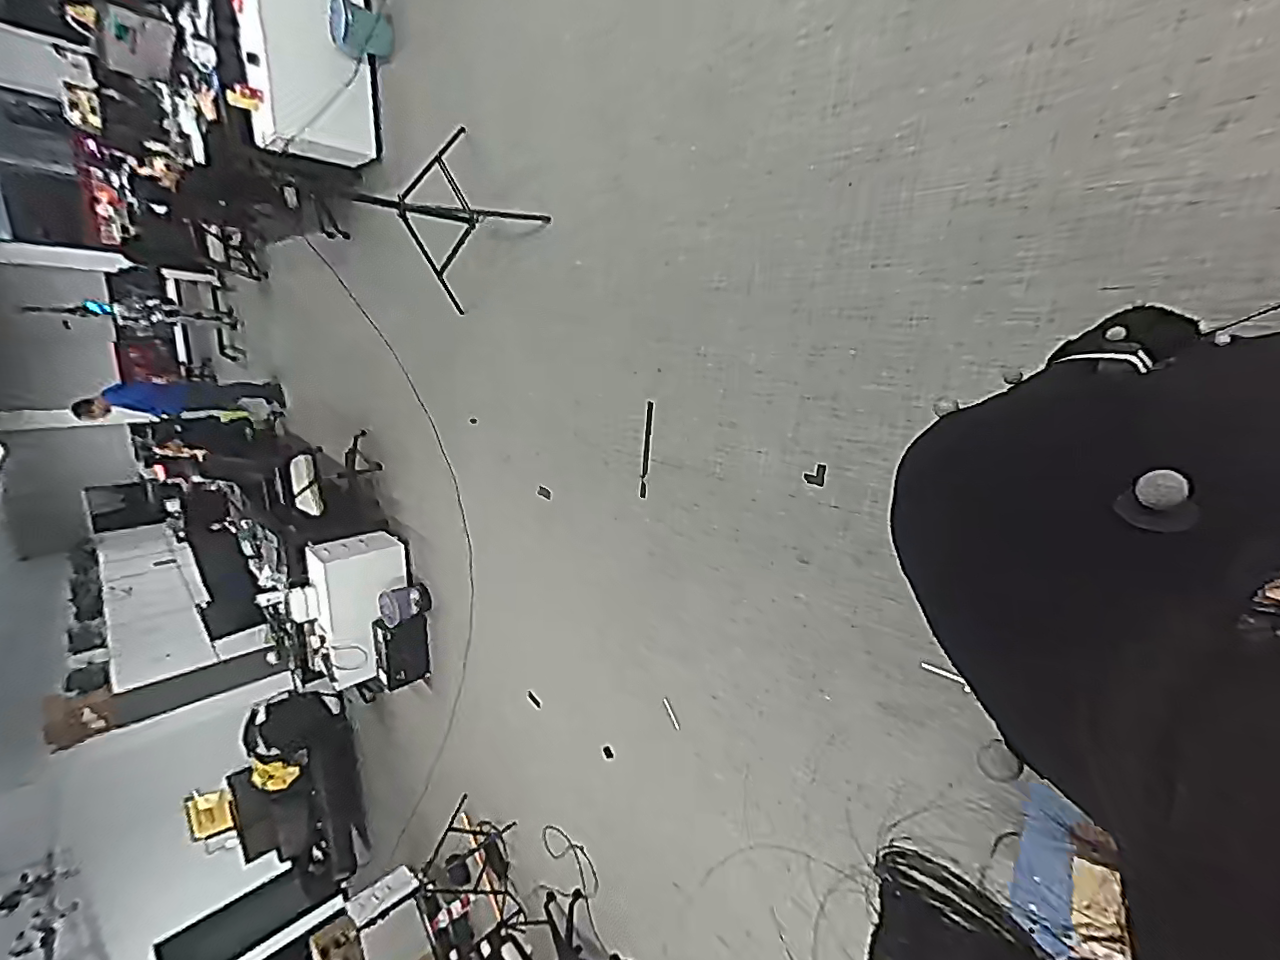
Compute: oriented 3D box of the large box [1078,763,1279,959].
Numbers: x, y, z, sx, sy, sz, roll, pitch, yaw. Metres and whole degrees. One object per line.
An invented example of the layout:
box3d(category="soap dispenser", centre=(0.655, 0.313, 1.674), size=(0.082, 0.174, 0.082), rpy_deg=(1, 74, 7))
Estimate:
box3d(category="large box", centre=(1.013, 0.759, 0.902), size=(0.408, 0.320, 0.320), rpy_deg=(2, 100, 46))
